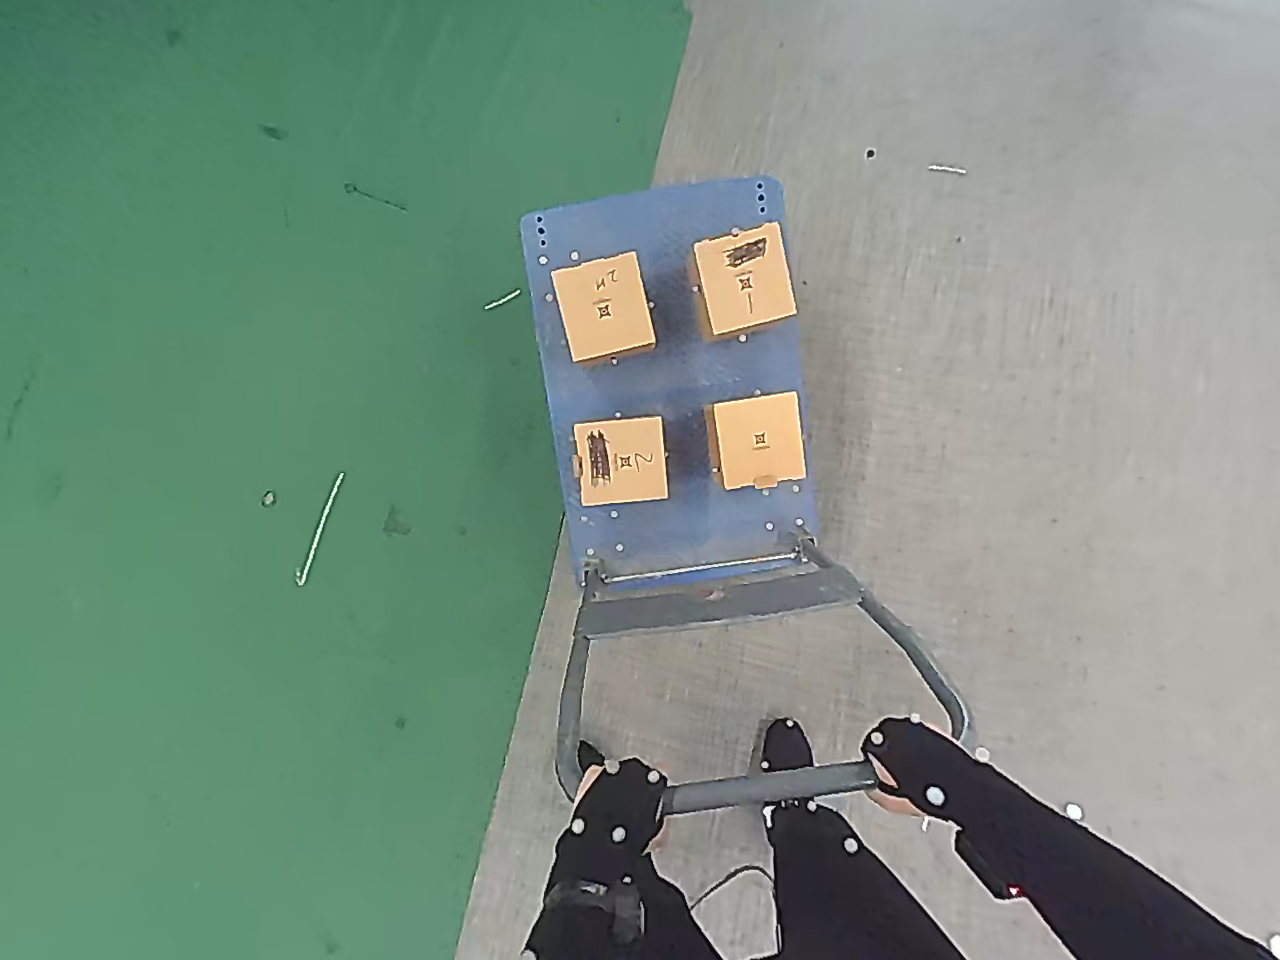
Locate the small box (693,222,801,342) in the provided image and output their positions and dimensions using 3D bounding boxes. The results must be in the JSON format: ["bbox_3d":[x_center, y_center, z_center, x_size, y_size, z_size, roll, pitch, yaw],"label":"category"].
[{"bbox_3d":[0.210,-0.393,1.098,0.168,0.176,0.179,-13,98,2],"label":"small box"}]

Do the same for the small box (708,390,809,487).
[{"bbox_3d":[0.243,-0.090,1.139,0.168,0.176,0.179,-8,98,1],"label":"small box"}]

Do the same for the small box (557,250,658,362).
[{"bbox_3d":[-0.060,-0.343,1.104,0.168,0.176,0.179,-13,97,1],"label":"small box"}]
